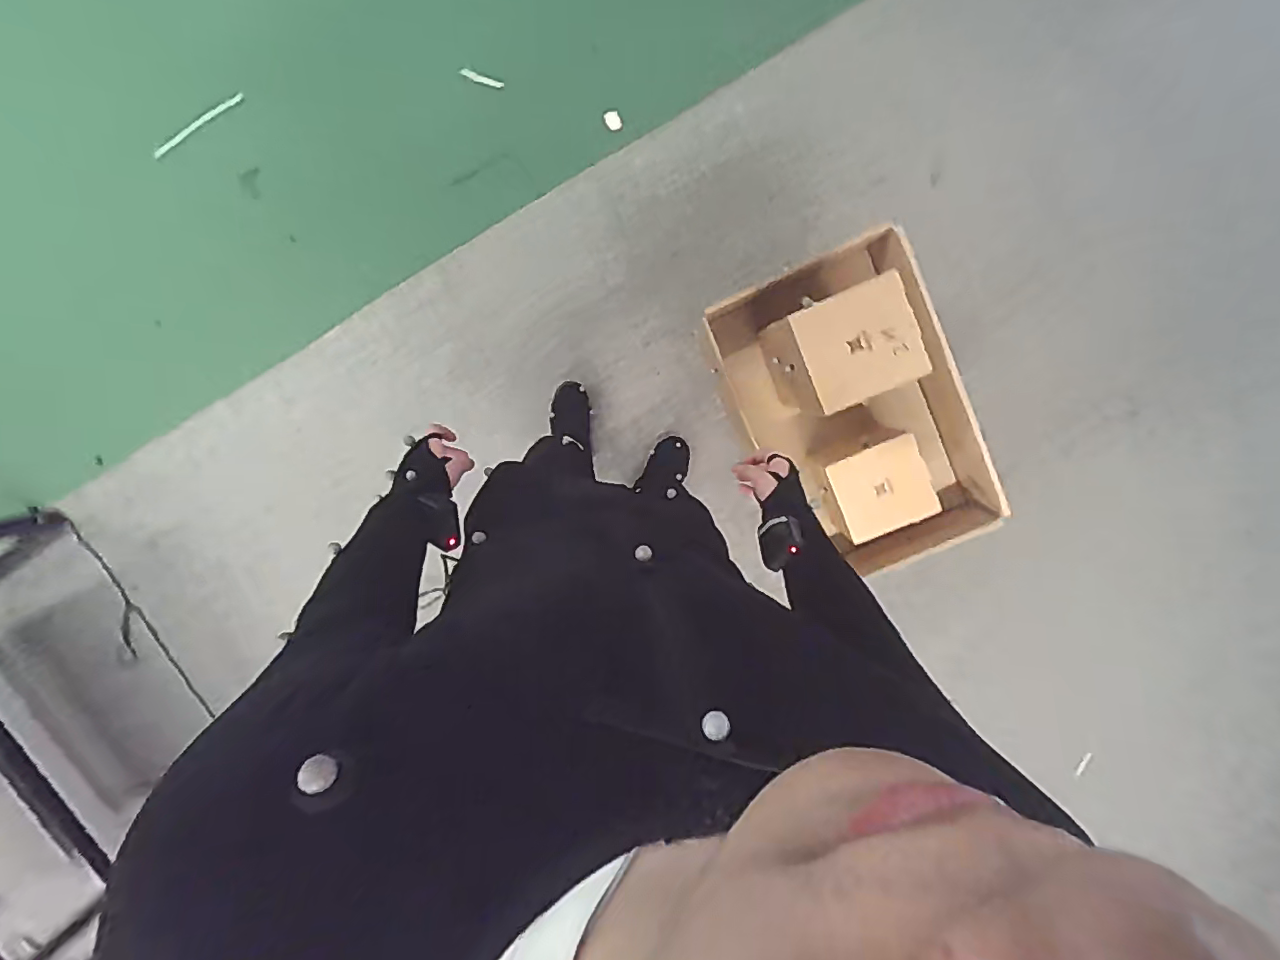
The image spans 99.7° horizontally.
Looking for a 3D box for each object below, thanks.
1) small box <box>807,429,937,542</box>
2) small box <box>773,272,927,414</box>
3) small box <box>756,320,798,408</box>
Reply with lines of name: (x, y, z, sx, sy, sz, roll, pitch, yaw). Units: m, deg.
small box: (0.456, 0.006, 1.098, 0.179, 0.176, 0.168, -23, 97, 6)
small box: (0.334, -0.218, 0.901, 0.179, 0.176, 0.168, -22, 98, 6)
small box: (0.347, -0.249, 1.062, 0.179, 0.176, 0.168, -21, 96, 5)
